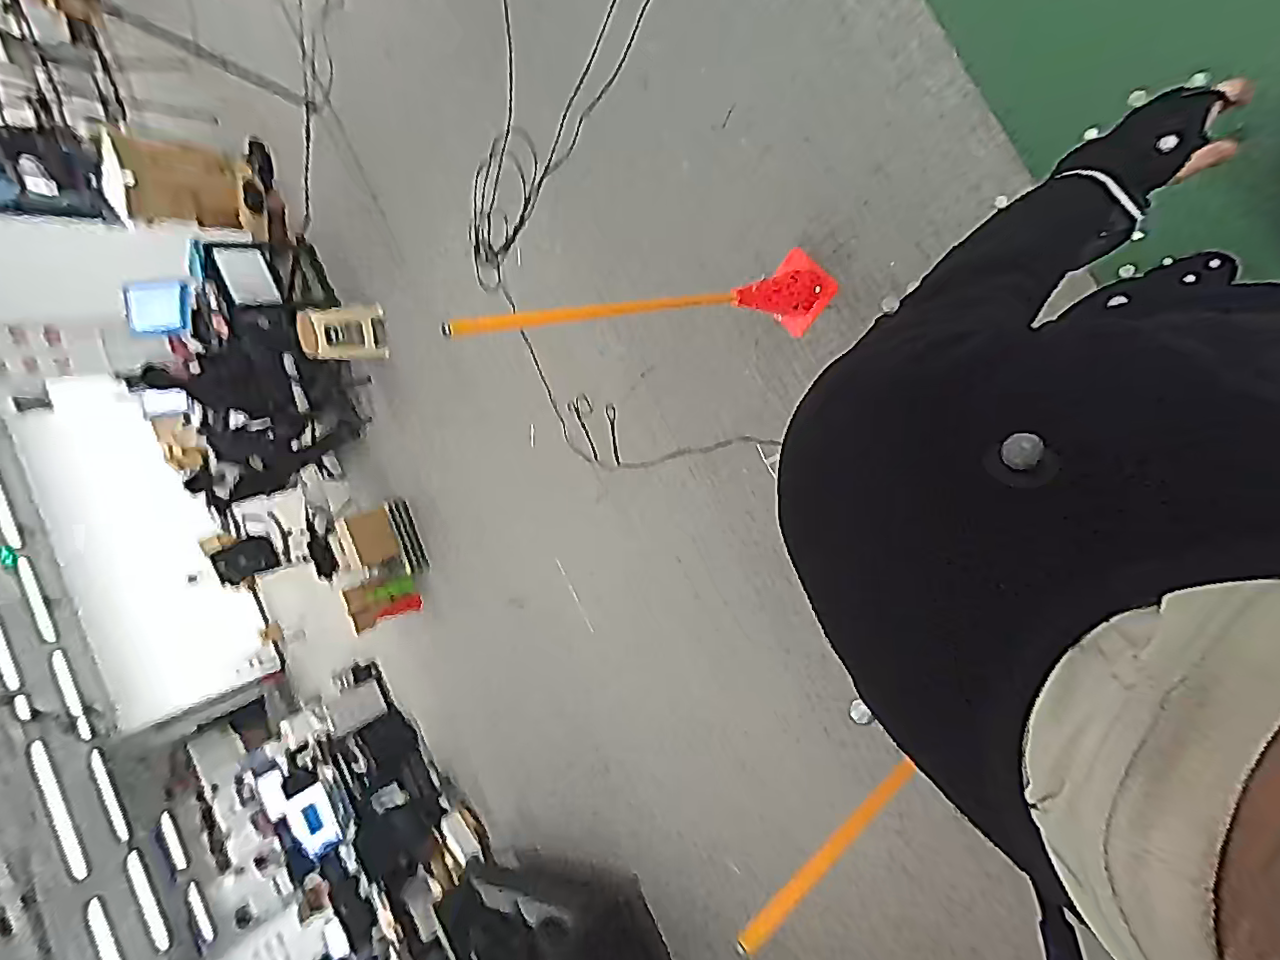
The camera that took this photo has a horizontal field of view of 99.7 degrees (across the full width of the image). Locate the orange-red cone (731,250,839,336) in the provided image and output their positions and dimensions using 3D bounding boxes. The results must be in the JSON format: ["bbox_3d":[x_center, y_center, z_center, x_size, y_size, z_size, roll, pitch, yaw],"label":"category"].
[{"bbox_3d":[0.377,-0.536,1.563,0.199,0.360,0.198,54,134,17],"label":"orange-red cone"}]
